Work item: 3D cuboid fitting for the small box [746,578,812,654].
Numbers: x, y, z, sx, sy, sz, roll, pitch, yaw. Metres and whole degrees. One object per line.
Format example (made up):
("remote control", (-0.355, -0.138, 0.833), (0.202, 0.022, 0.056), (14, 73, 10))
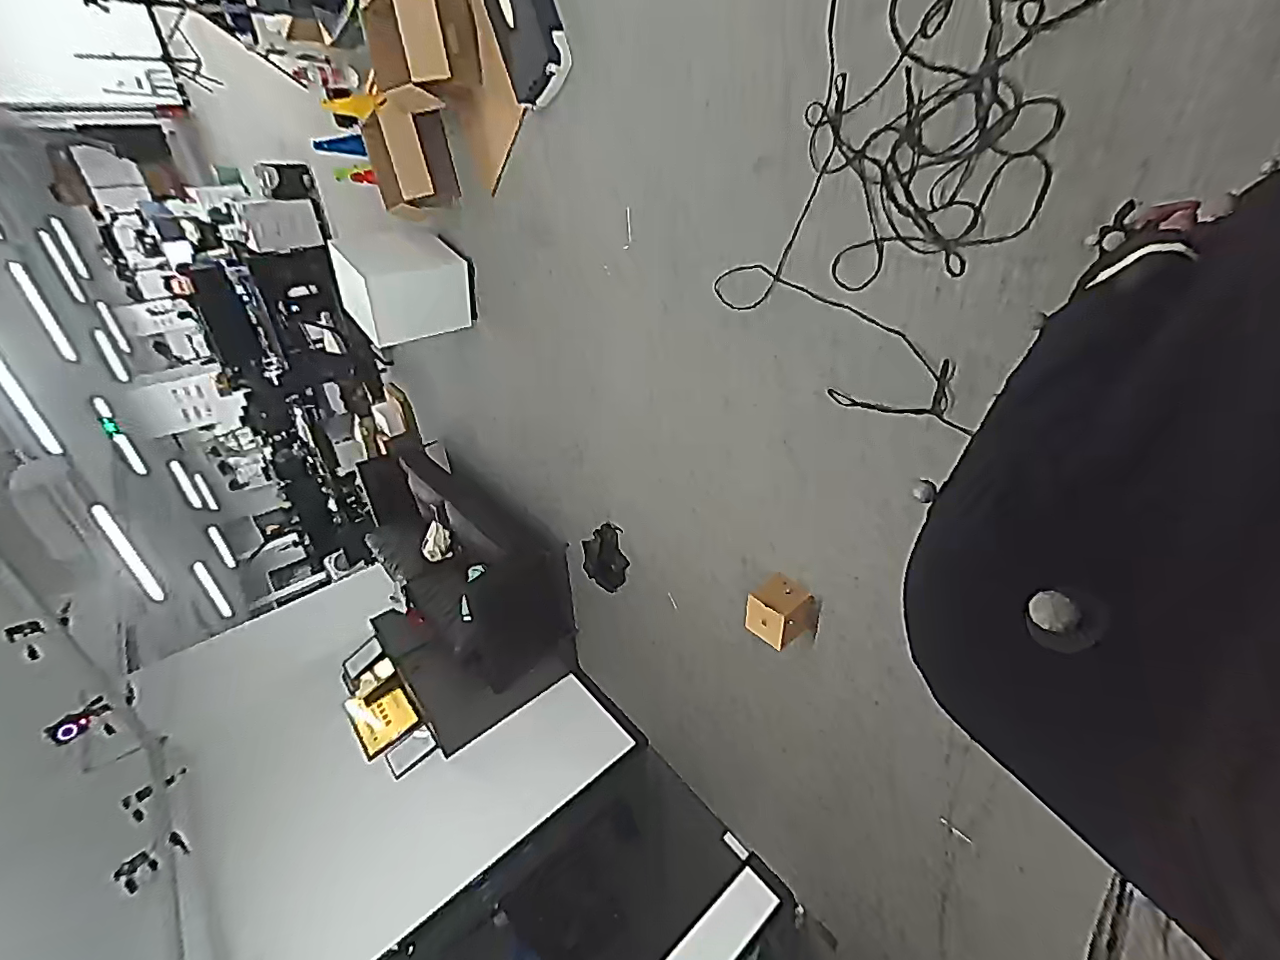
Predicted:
("small box", (0.517, 0.500, 2.010), (0.168, 0.176, 0.179), (30, 133, 42))
